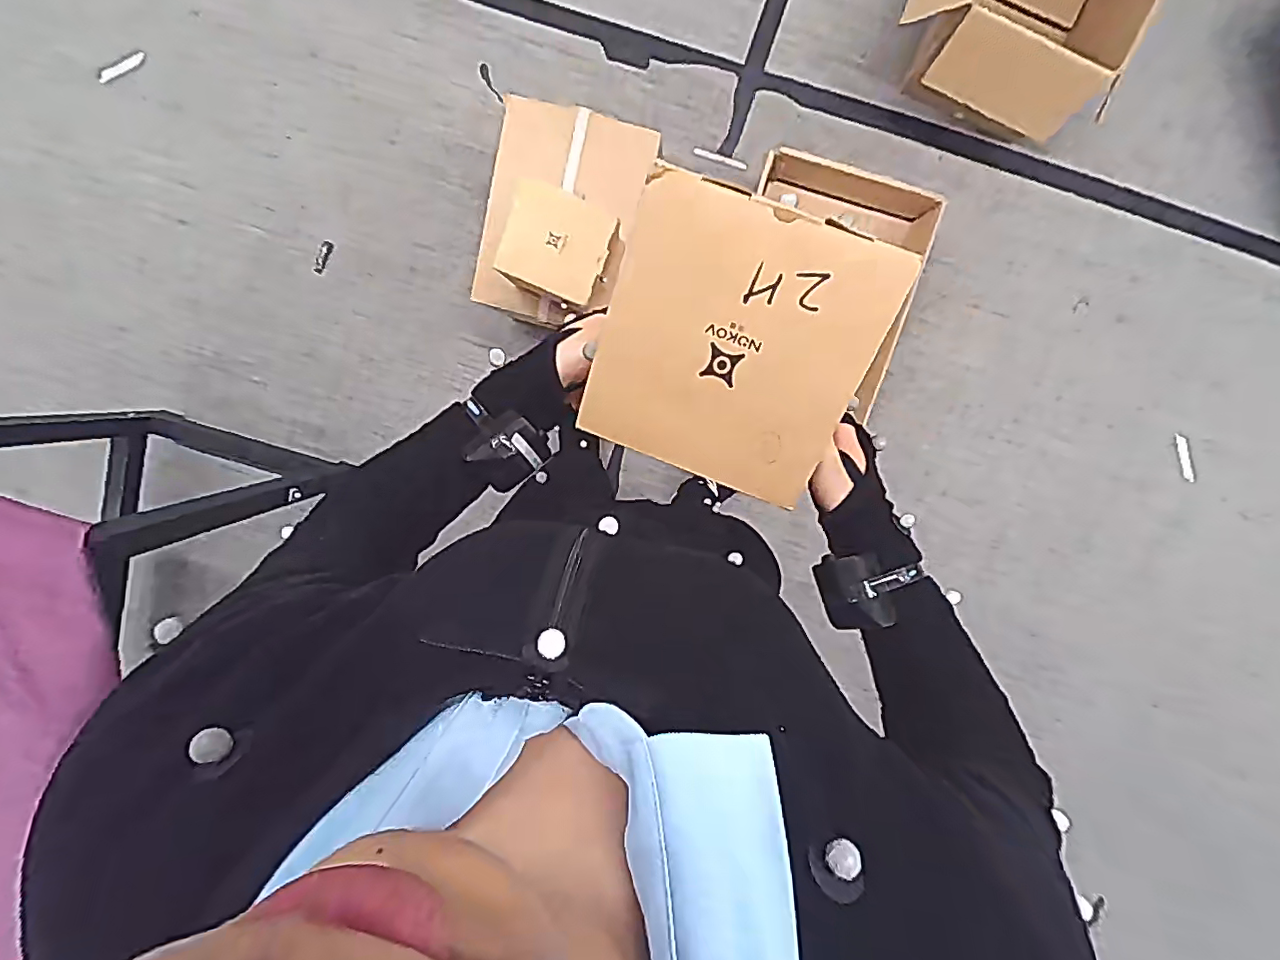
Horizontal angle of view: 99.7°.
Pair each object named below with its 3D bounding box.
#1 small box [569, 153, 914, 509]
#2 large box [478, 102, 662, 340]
[{"bbox_3d":[0.067,-0.112,0.408,0.168,0.176,0.179,21,115,2],"label":"small box"},{"bbox_3d":[-0.141,-0.544,1.235,0.320,0.320,0.408,14,101,0],"label":"large box"}]
